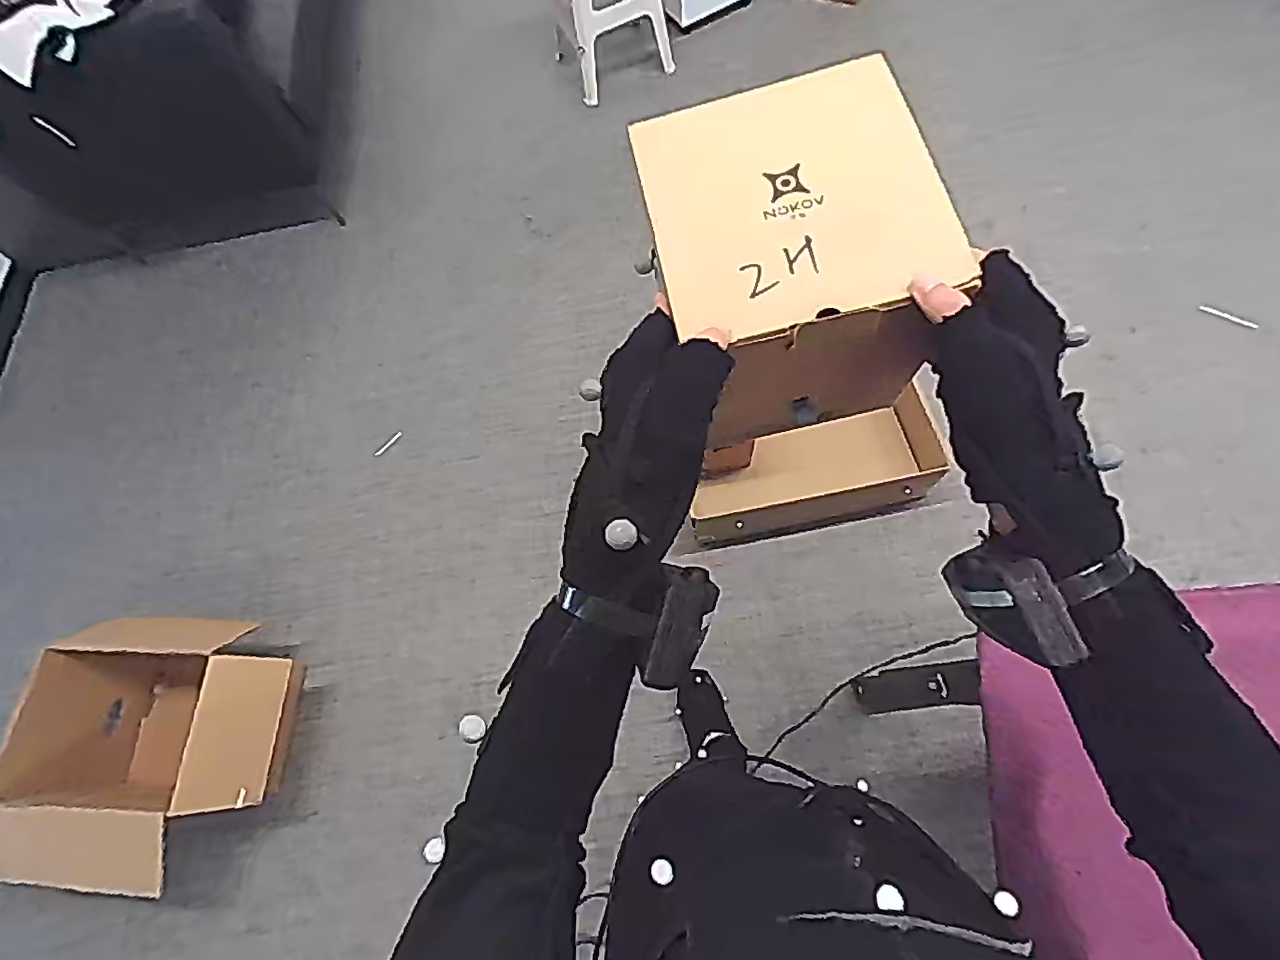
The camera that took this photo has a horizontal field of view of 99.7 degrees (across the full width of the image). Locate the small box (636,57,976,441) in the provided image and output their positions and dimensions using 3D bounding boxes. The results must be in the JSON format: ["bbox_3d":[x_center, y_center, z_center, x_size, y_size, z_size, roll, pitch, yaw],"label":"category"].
[{"bbox_3d":[0.099,-0.150,0.398,0.168,0.176,0.179,-12,72,5],"label":"small box"}]
